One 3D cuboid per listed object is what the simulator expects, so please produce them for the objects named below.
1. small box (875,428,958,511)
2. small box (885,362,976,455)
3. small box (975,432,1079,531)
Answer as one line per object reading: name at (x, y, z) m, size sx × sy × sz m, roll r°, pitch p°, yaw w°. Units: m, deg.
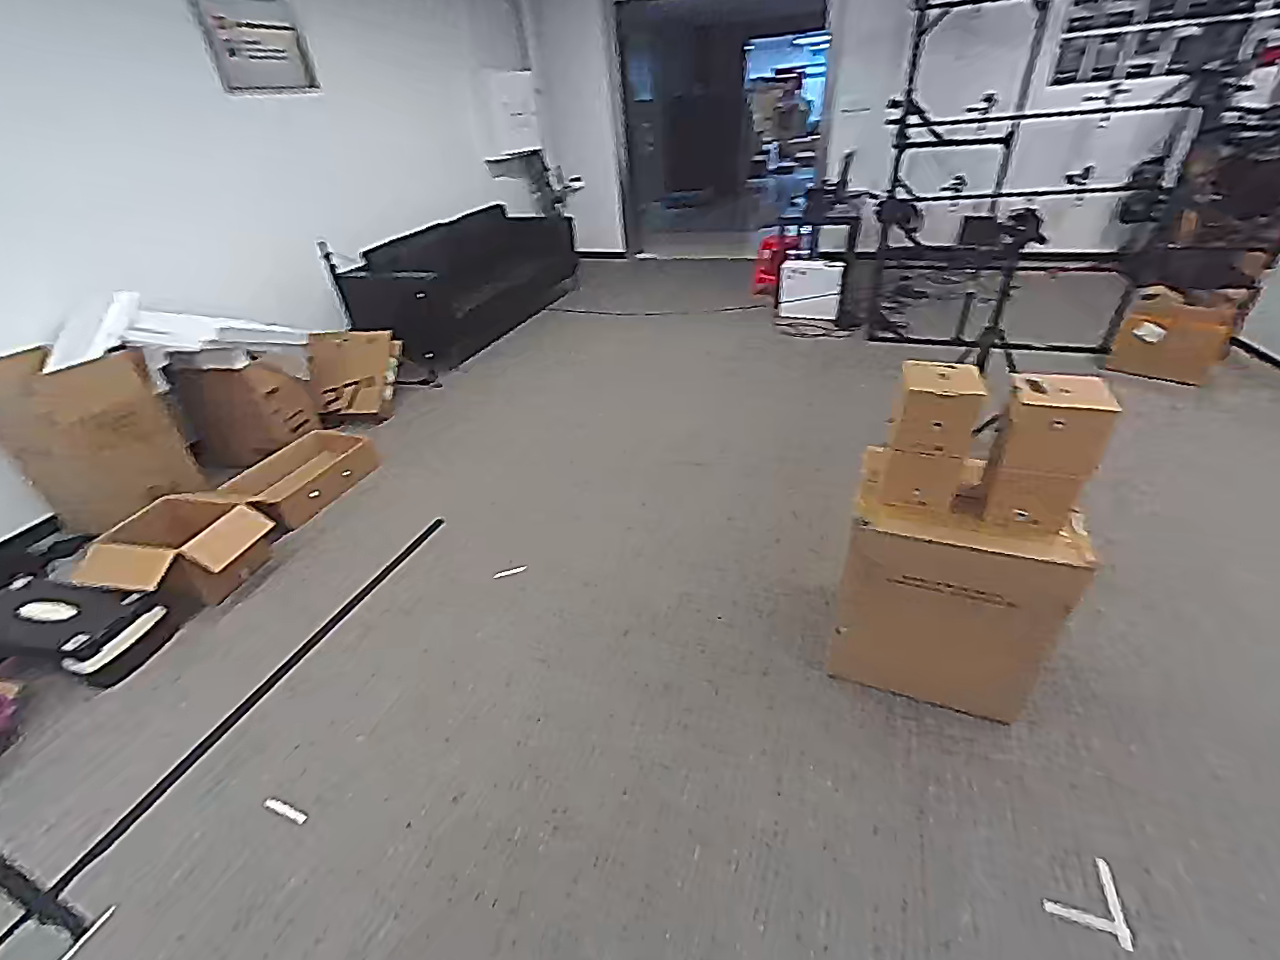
small box at (0.727, -0.044, 1.437) m, size 0.168 × 0.176 × 0.179 m, roll 9°, pitch 37°, yaw 19°
small box at (0.715, -0.180, 1.345) m, size 0.168 × 0.176 × 0.179 m, roll 8°, pitch 37°, yaw 18°
small box at (0.947, 0.000, 1.343) m, size 0.168 × 0.176 × 0.179 m, roll 7°, pitch 38°, yaw 22°
